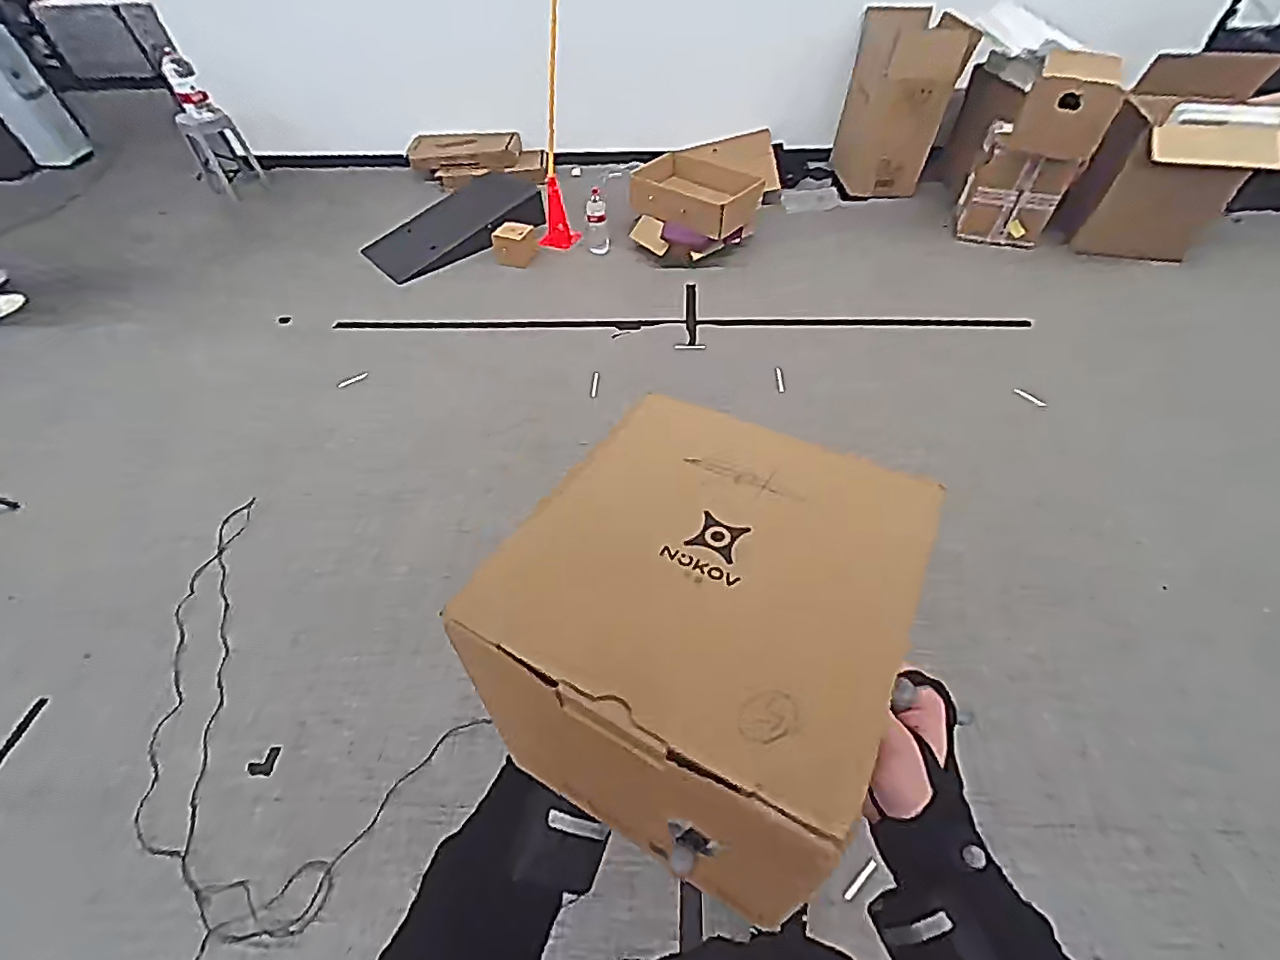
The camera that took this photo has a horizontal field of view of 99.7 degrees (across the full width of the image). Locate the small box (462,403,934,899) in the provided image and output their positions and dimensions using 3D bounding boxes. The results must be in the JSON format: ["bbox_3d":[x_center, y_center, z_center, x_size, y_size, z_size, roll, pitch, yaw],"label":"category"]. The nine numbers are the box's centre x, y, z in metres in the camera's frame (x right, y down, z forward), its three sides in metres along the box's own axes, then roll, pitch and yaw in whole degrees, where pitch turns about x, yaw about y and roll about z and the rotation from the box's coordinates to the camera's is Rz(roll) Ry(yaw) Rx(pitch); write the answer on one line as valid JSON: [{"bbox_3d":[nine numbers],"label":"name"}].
[{"bbox_3d":[0.037,0.090,0.305,0.168,0.176,0.179,22,48,21],"label":"small box"}]
